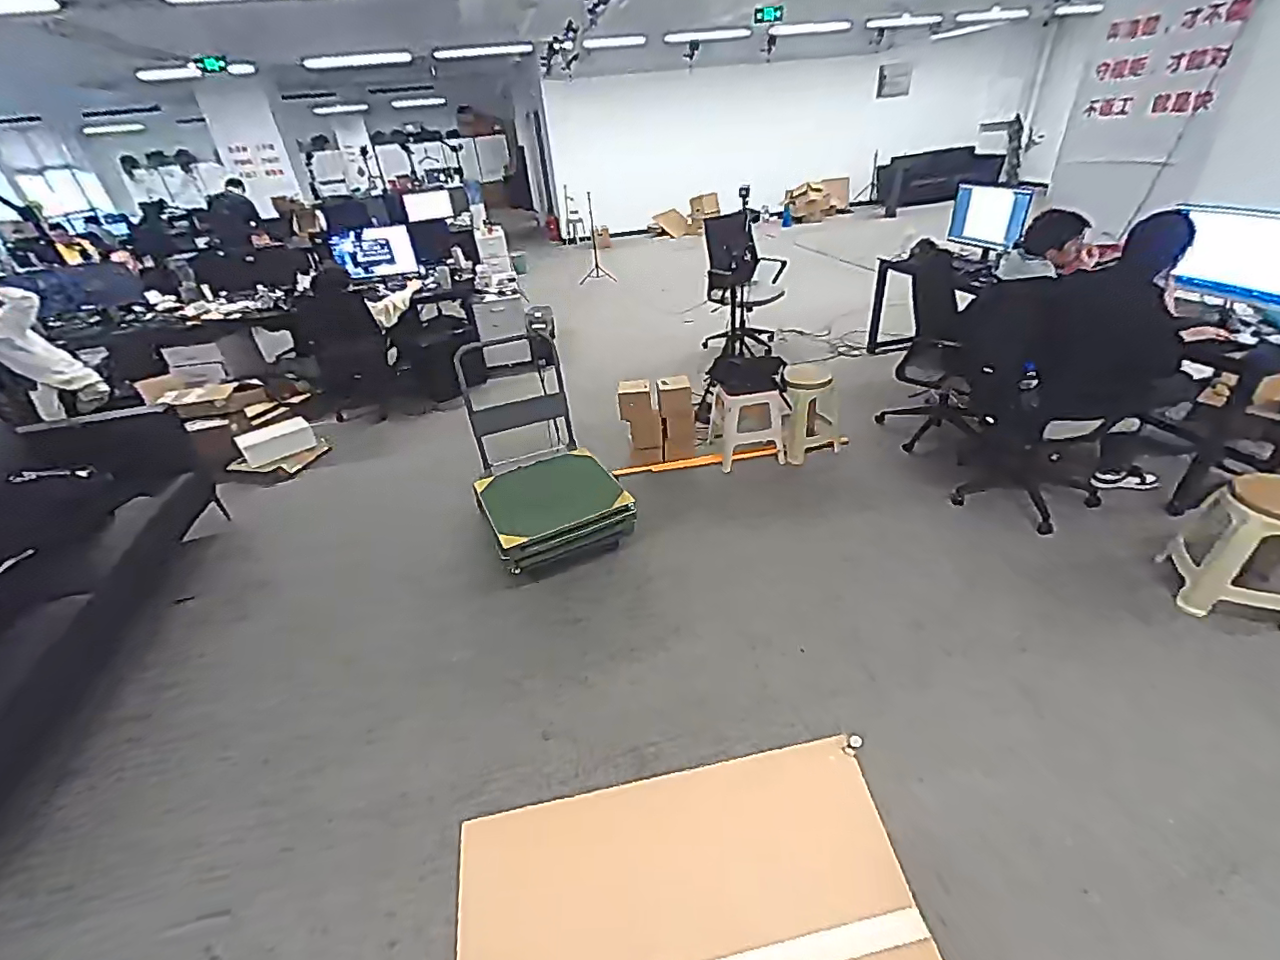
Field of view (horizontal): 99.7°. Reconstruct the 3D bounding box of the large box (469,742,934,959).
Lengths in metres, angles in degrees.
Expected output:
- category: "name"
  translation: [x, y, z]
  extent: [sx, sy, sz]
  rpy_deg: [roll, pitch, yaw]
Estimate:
- category: "large box"
  translation: [0.061, 0.528, 0.572]
  extent: [0.408, 0.320, 0.320]
  rpy_deg: [-11, 50, -5]
